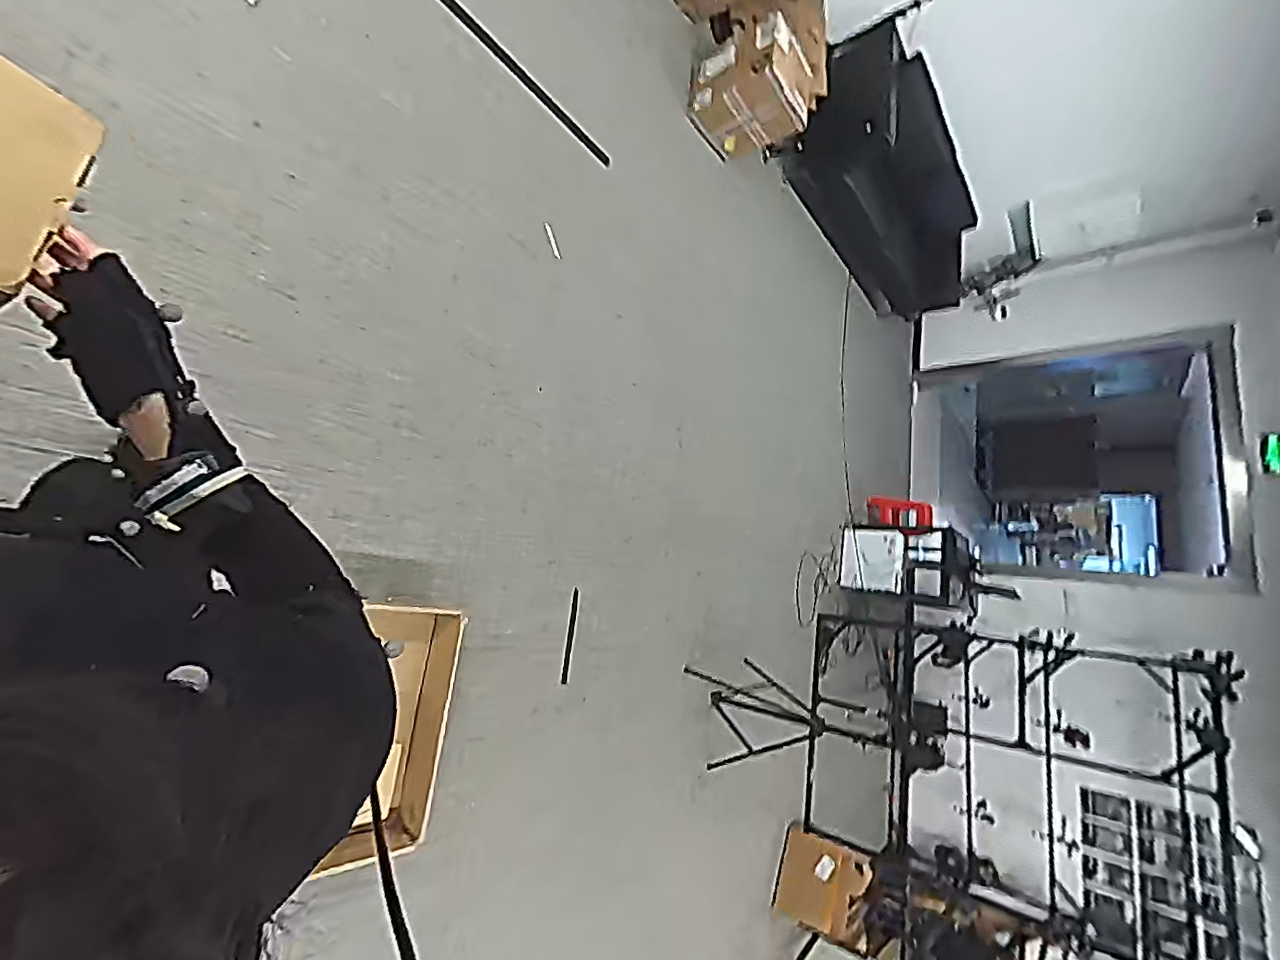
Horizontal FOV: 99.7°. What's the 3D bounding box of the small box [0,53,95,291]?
[{"bbox_3d":[-0.567,-0.248,0.393,0.179,0.176,0.168,30,67,-54],"label":"small box"}]
